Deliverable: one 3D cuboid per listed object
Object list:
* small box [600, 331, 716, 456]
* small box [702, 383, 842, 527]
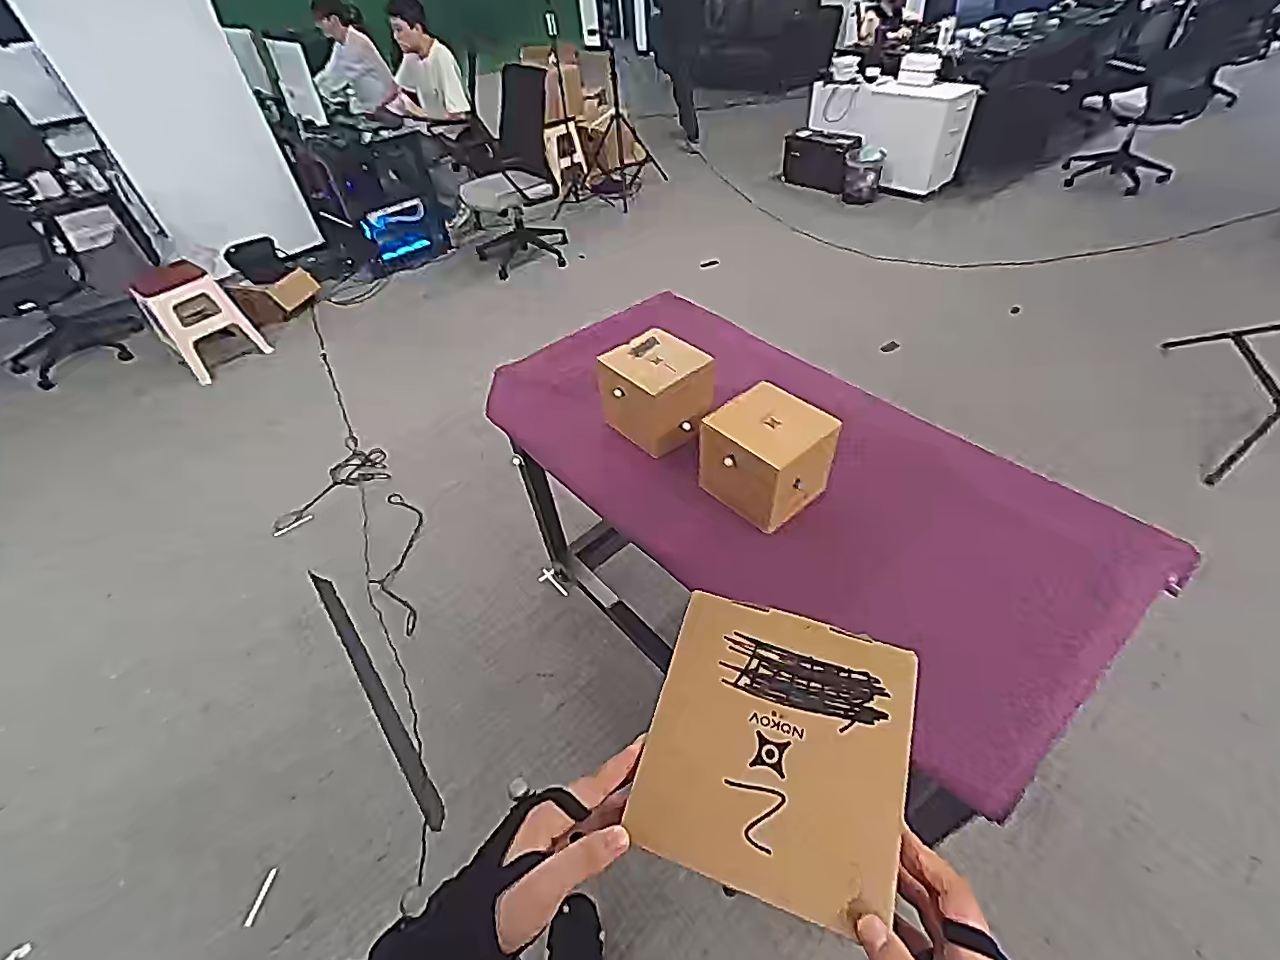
[{"bbox_3d":[0.039,-0.180,1.134,0.168,0.176,0.179,-34,52,-24],"label":"small box"},{"bbox_3d":[0.230,-0.039,0.978,0.168,0.176,0.179,-34,52,-25],"label":"small box"}]
